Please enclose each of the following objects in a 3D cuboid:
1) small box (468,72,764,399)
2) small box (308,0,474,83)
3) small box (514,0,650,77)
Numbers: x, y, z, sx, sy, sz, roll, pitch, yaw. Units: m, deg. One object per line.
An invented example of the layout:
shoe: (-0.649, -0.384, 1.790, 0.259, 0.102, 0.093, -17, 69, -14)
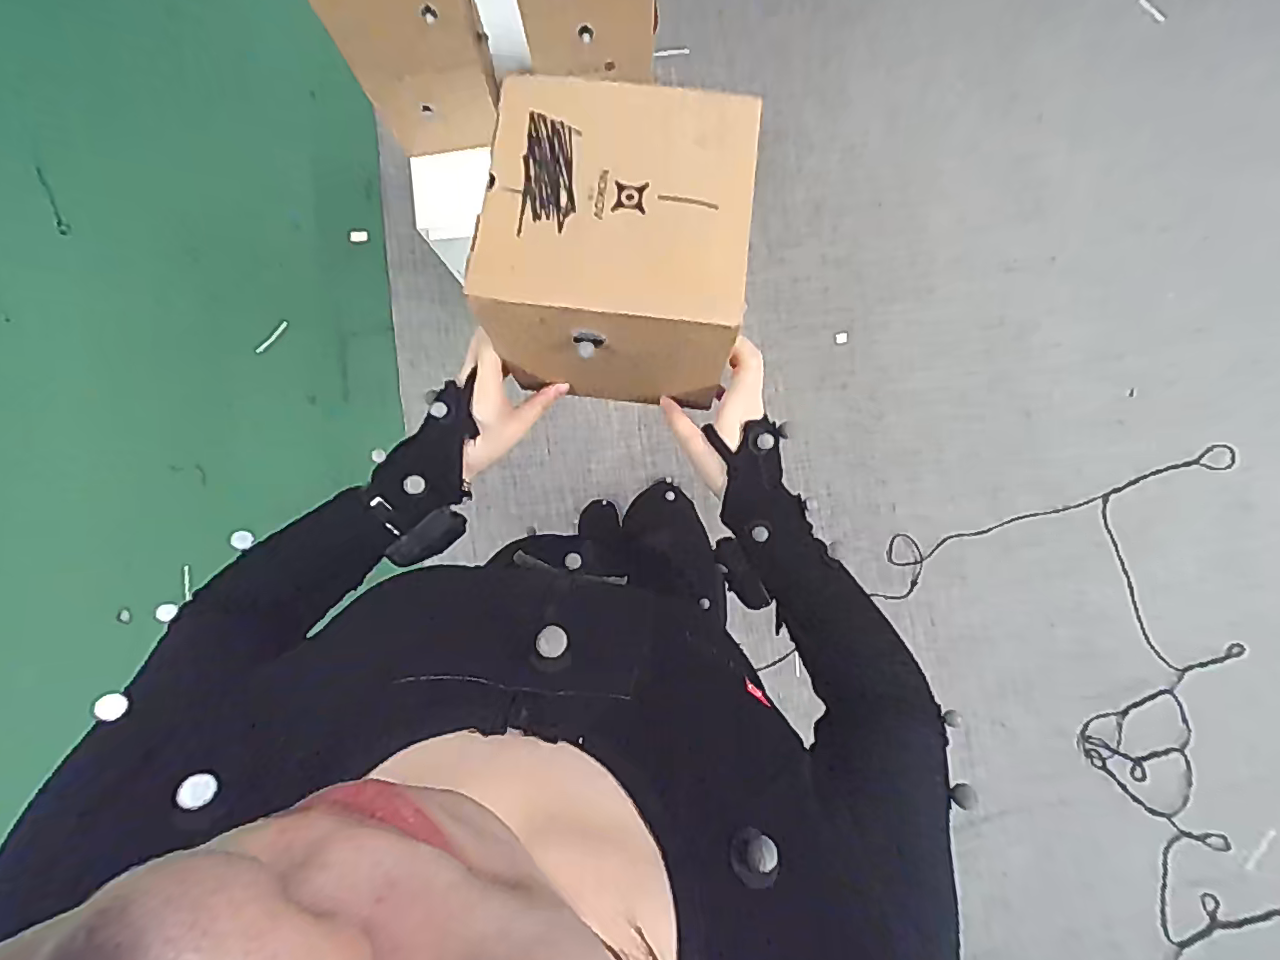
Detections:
small box: (-0.013, -0.173, 0.428, 0.179, 0.176, 0.168, 7, 80, 1)
small box: (-0.324, -0.656, 0.690, 0.179, 0.176, 0.168, -11, 87, -2)
small box: (-0.075, -0.654, 0.693, 0.168, 0.176, 0.179, -6, 88, -1)
